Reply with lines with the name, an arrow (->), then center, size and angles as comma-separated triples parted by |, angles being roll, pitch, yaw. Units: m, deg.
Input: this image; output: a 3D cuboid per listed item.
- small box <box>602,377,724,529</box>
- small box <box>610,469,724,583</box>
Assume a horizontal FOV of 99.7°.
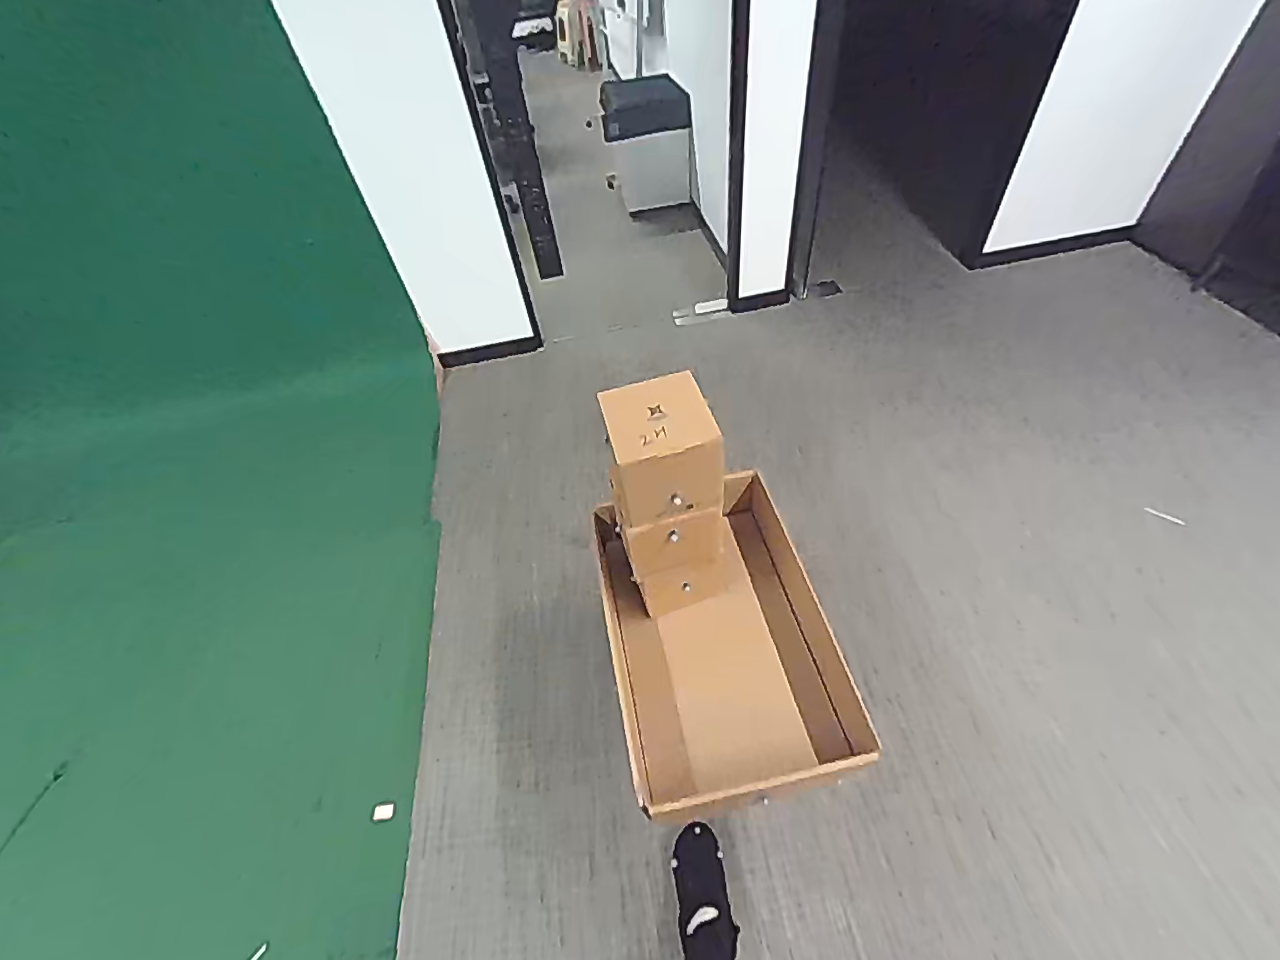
small box -> 0.039, -0.044, 0.926 | 0.168, 0.176, 0.179 | -14, 50, -3
small box -> 0.052, 0.072, 1.044 | 0.179, 0.176, 0.168 | -16, 49, -5
